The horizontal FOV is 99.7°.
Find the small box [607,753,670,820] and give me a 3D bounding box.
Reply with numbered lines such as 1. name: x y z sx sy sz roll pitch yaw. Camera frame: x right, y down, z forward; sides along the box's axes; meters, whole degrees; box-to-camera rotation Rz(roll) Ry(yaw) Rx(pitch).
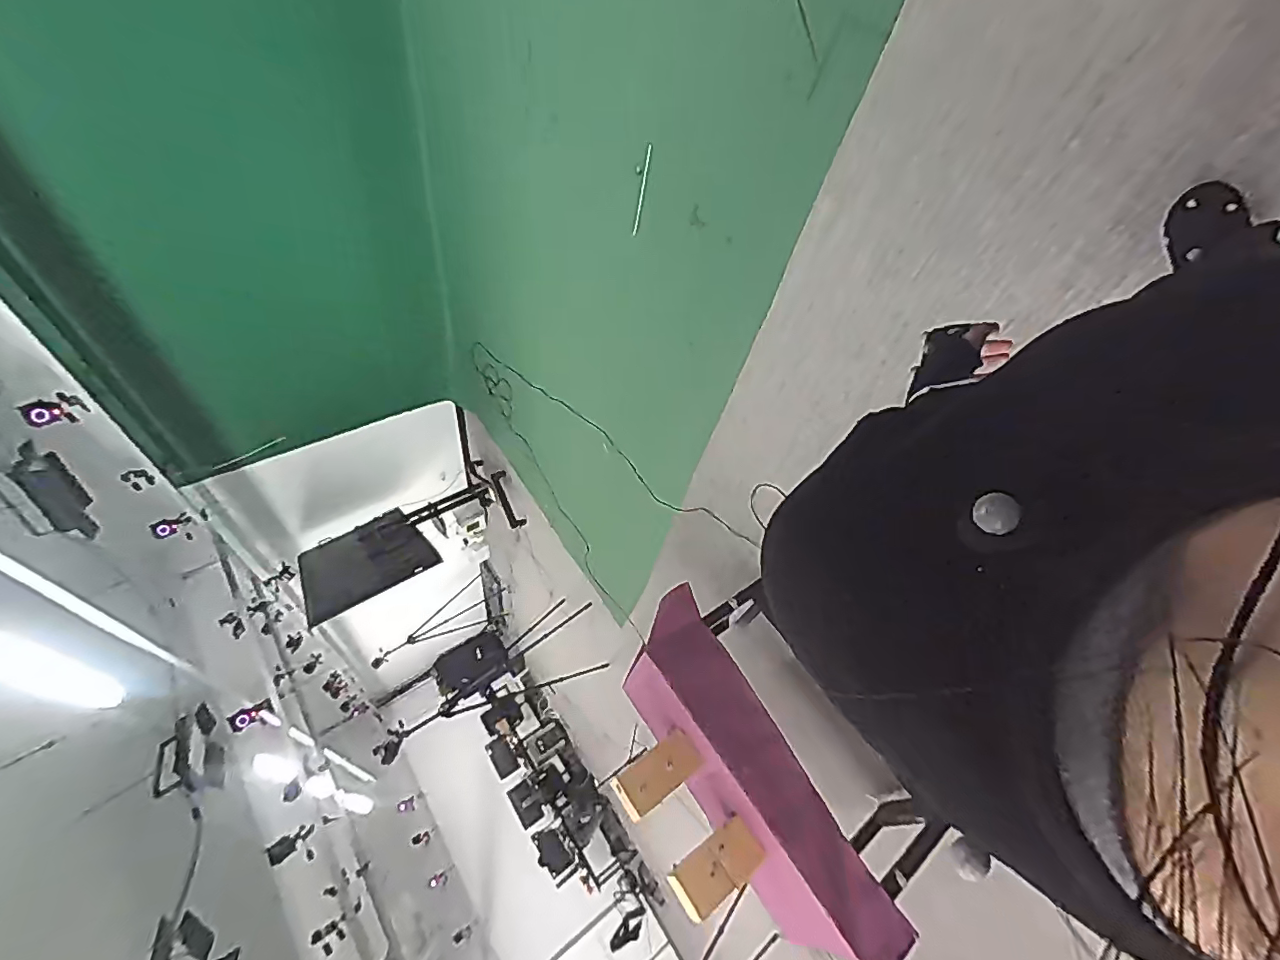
1. small box: -0.007 1.230 2.180 0.179 0.176 0.168 51 149 22

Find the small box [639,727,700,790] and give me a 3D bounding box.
1. small box: 0.124 1.165 2.255 0.179 0.176 0.168 52 150 22

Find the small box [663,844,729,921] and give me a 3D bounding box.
1. small box: 0.212 1.513 2.043 0.168 0.176 0.179 51 150 23

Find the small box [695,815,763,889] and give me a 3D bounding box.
1. small box: 0.349 1.452 2.112 0.179 0.176 0.168 52 150 24
